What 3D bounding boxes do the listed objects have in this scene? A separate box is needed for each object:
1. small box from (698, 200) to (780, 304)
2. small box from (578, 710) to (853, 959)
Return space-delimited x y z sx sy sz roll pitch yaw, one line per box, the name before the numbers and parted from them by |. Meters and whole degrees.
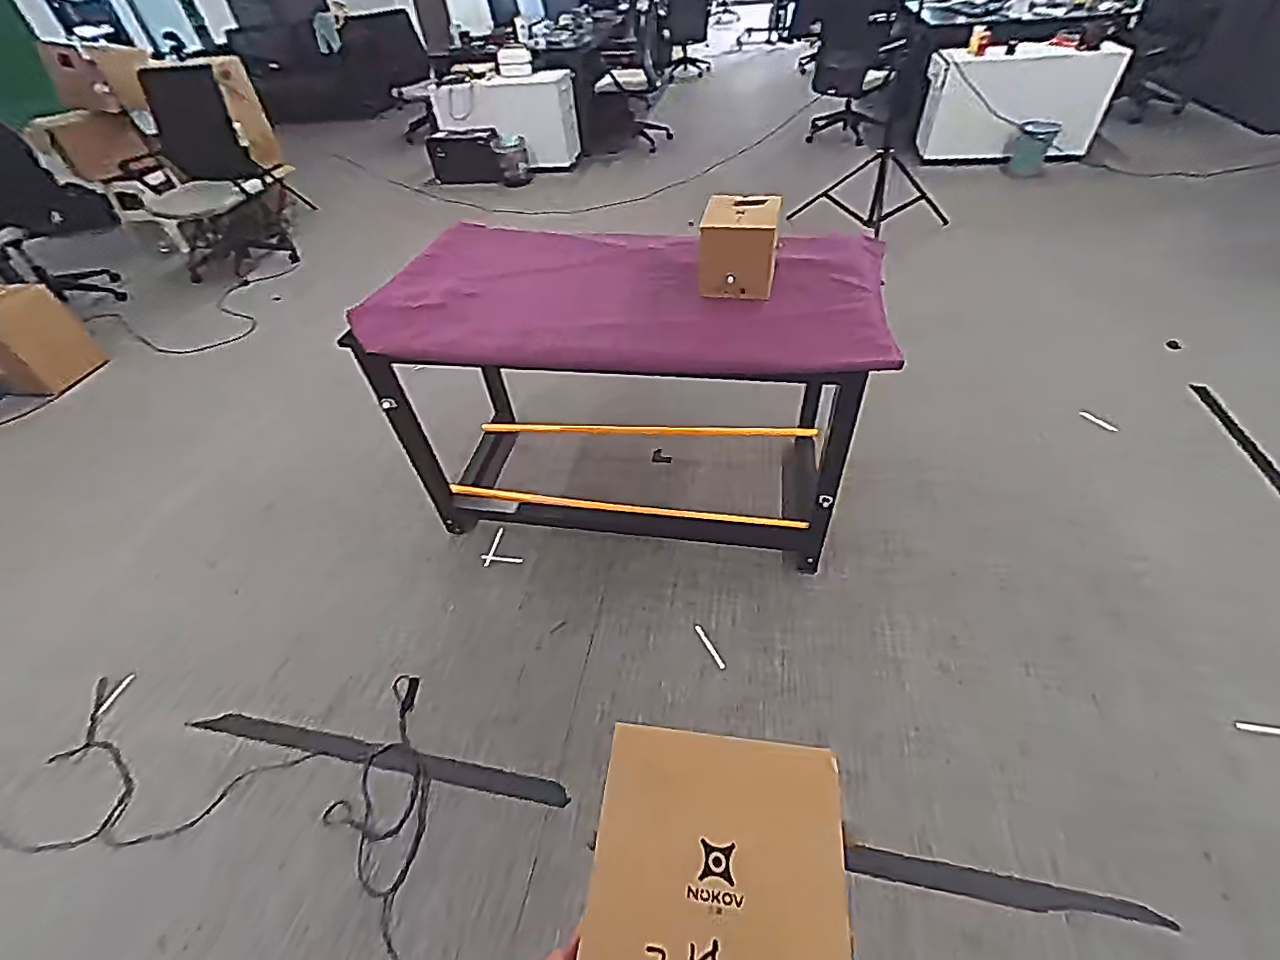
small box | 0.231 -0.538 1.274 0.168 0.176 0.179 7 48 13
small box | 0.061 0.301 0.415 0.168 0.176 0.179 2 52 12
